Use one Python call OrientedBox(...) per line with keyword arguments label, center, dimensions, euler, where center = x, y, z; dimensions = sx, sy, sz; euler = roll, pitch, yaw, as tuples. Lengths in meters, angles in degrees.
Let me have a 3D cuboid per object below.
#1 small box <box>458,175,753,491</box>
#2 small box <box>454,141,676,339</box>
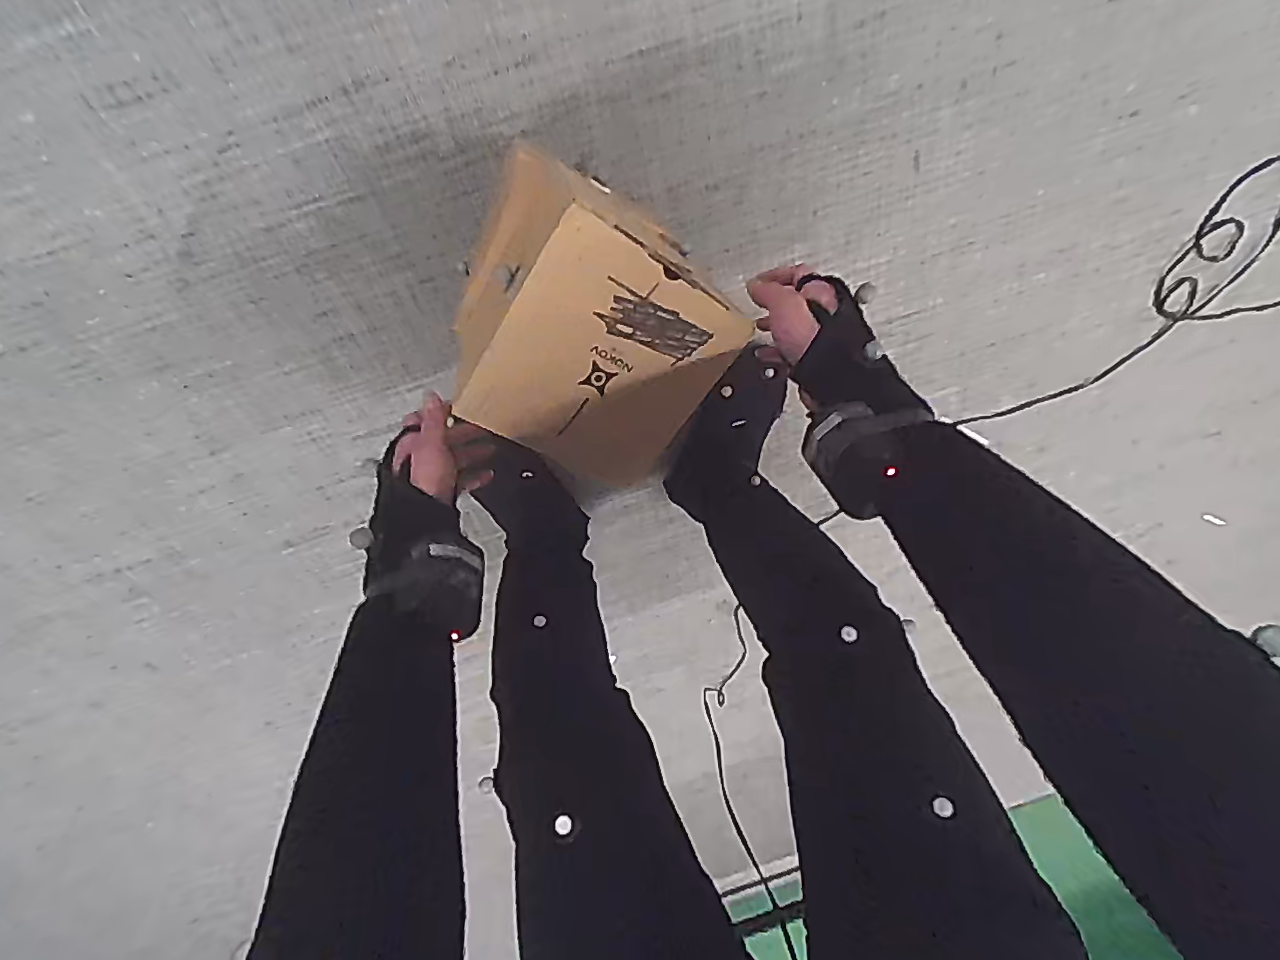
OrientedBox(label="small box", center=(-0.041, -0.129, 0.467), dimensions=(0.168, 0.176, 0.179), euler=(26, 117, -29))
OrientedBox(label="small box", center=(-0.088, -0.233, 0.587), dimensions=(0.168, 0.176, 0.179), euler=(18, 119, -26))
